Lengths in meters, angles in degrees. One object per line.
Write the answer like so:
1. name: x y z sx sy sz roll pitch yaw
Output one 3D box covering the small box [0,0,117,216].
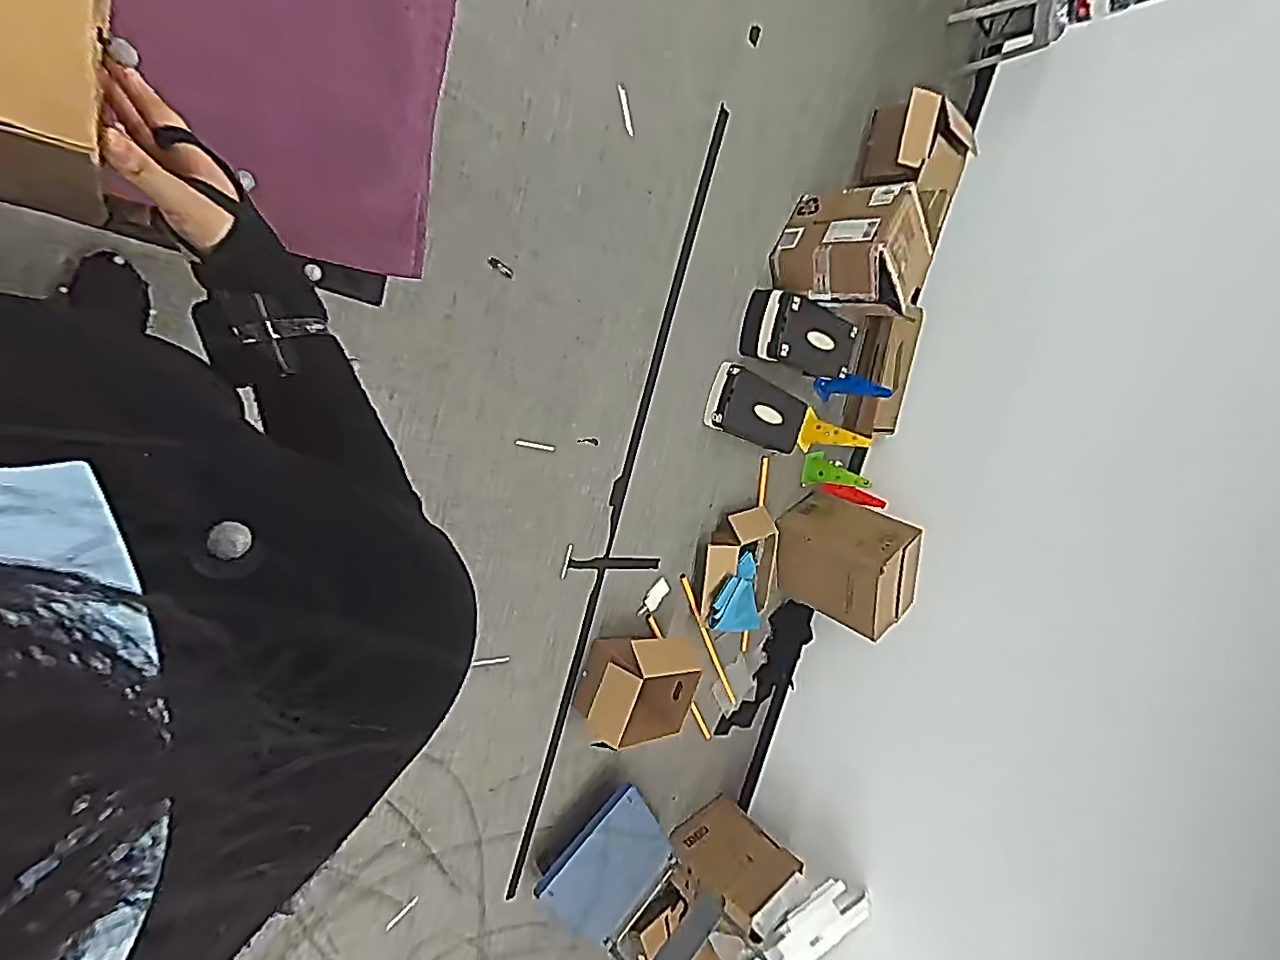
1. small box: -0.413 -0.281 0.305 0.168 0.176 0.179 1 96 -45
